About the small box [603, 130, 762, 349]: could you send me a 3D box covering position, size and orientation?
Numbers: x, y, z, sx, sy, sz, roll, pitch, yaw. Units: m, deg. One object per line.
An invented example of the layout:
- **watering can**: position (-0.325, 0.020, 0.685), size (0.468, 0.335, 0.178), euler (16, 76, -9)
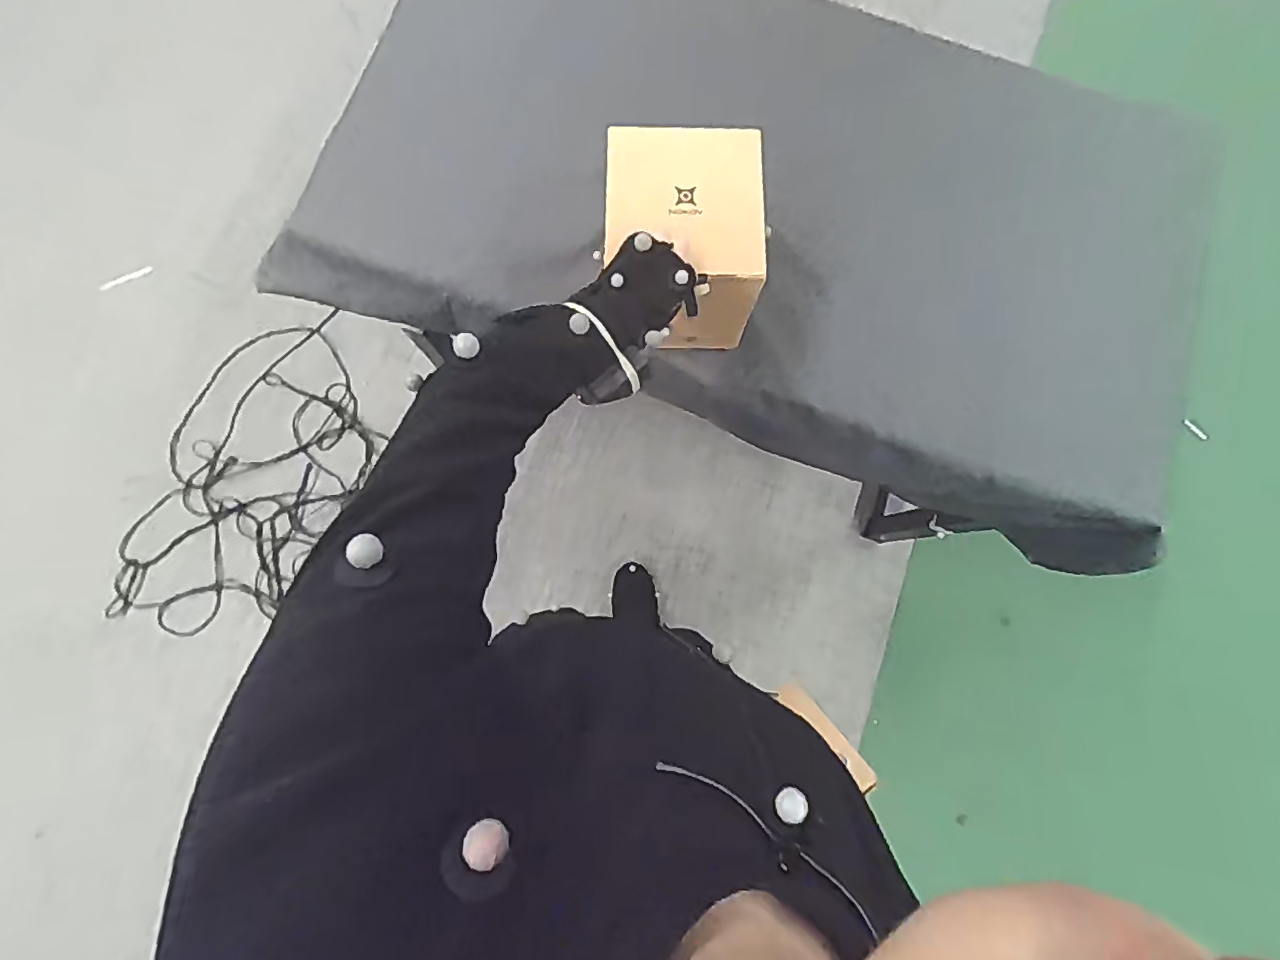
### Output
- **small box**: position (0.042, -0.273, 0.641), size (0.168, 0.176, 0.179), euler (0, 80, -1)
